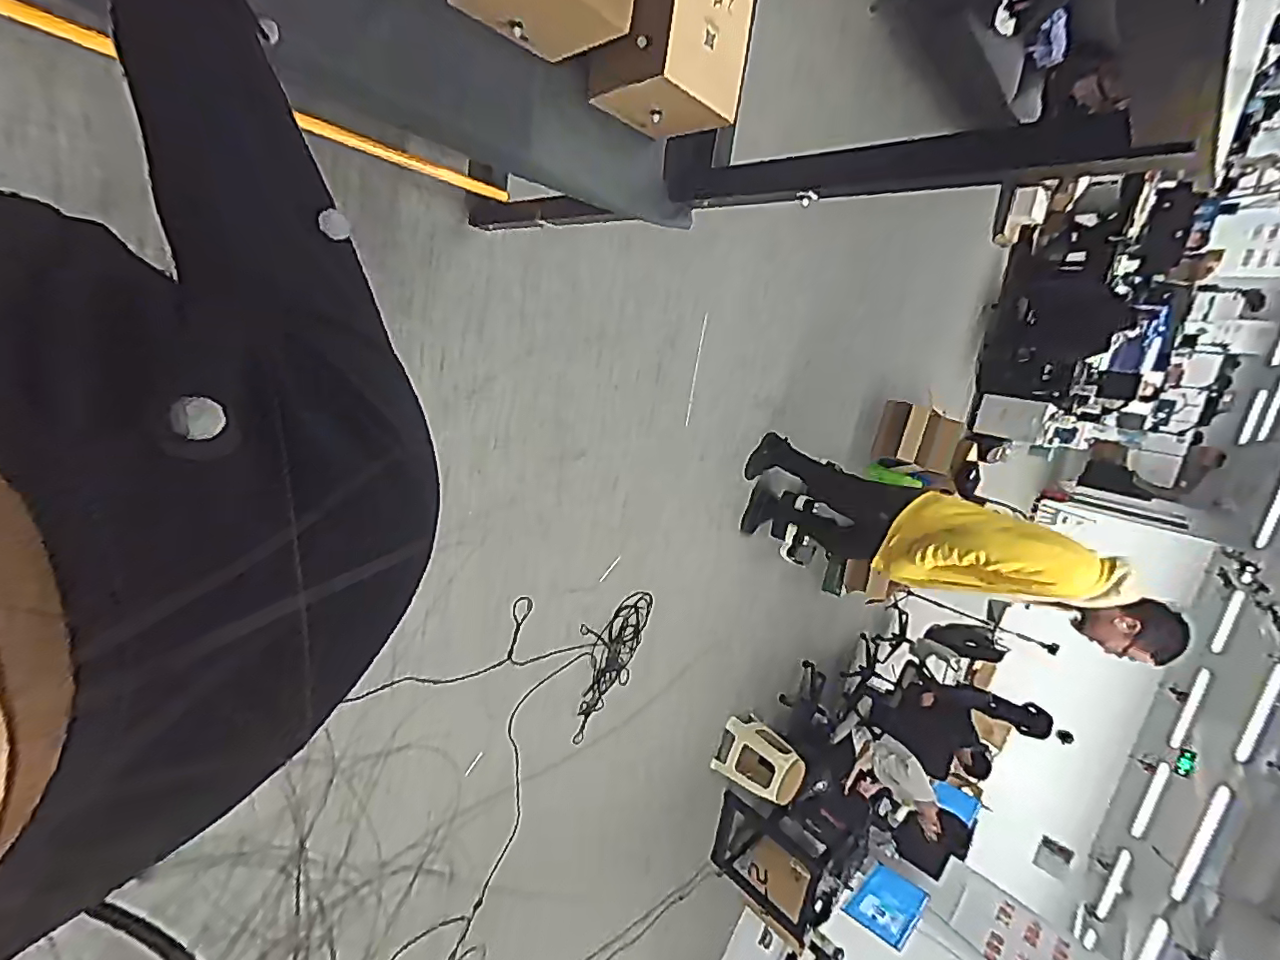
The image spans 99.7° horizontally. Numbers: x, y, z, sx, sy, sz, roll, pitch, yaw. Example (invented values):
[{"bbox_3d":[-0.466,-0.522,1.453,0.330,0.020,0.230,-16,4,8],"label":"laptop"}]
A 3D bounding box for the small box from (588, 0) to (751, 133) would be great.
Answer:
[{"bbox_3d":[0.040,-0.660,0.825,0.168,0.176,0.179,-6,110,-46],"label":"small box"}]
